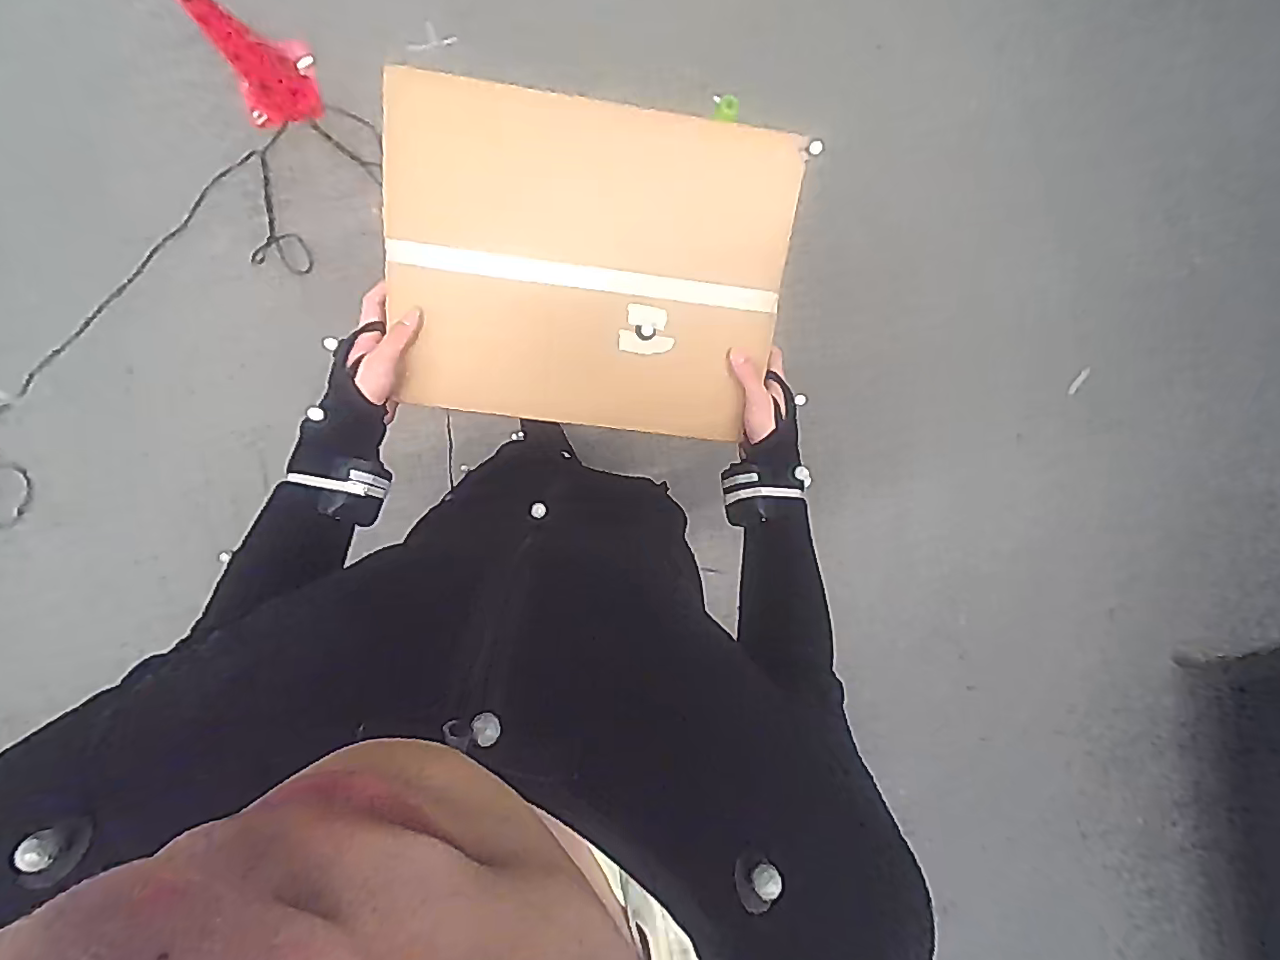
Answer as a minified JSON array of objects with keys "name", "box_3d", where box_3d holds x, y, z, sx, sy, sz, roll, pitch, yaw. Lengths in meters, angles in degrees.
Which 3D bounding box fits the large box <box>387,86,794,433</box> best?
[{"name":"large box","box_3d":[-0.067,-0.257,0.709,0.408,0.320,0.320,5,109,-6]}]
